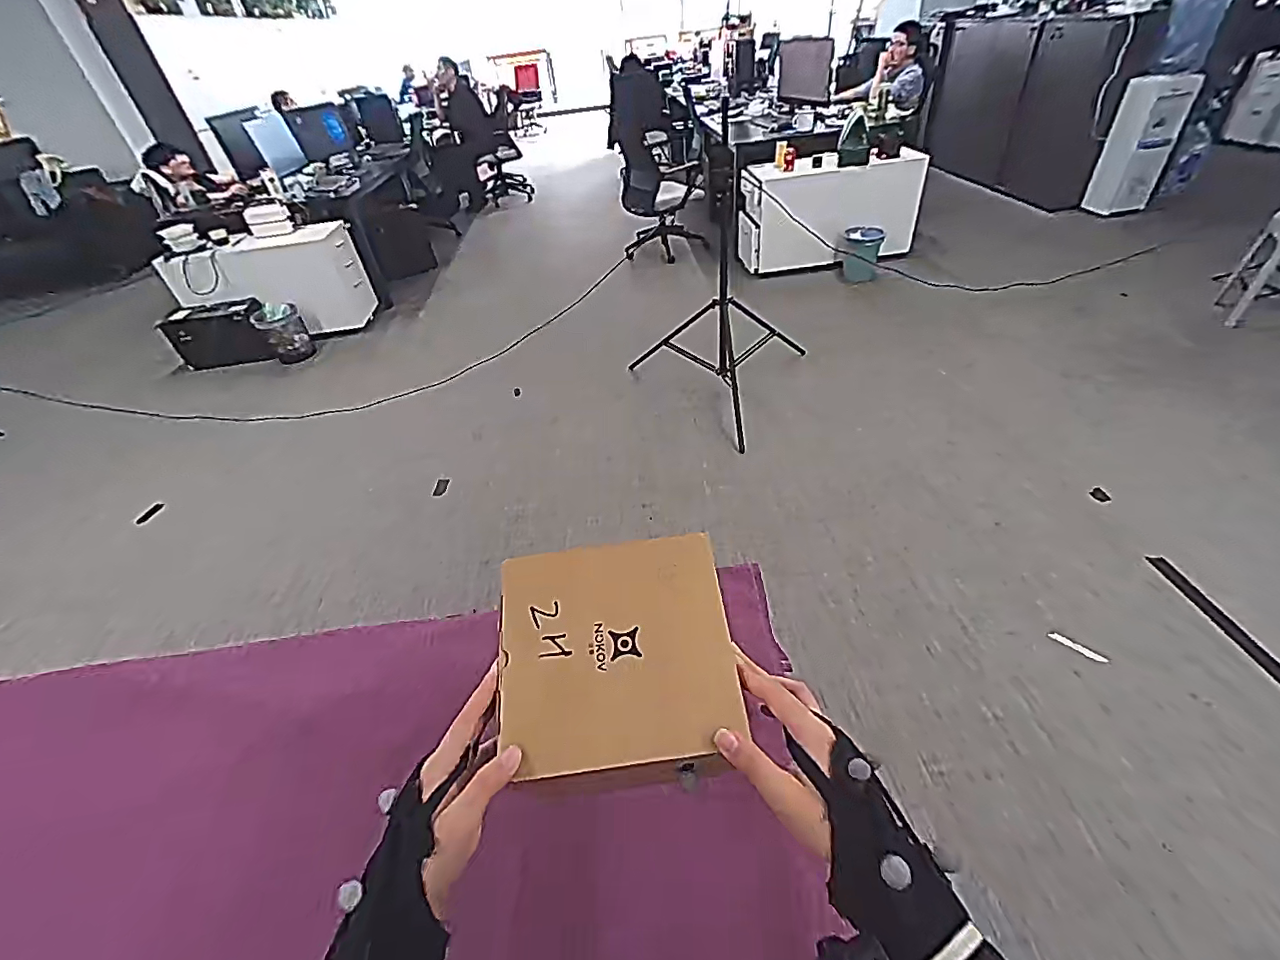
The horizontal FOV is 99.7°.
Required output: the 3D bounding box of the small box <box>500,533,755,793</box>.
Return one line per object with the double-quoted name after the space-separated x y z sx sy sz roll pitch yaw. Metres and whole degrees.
-0.012 0.165 0.473 0.179 0.176 0.168 -8 56 0 "small box"
